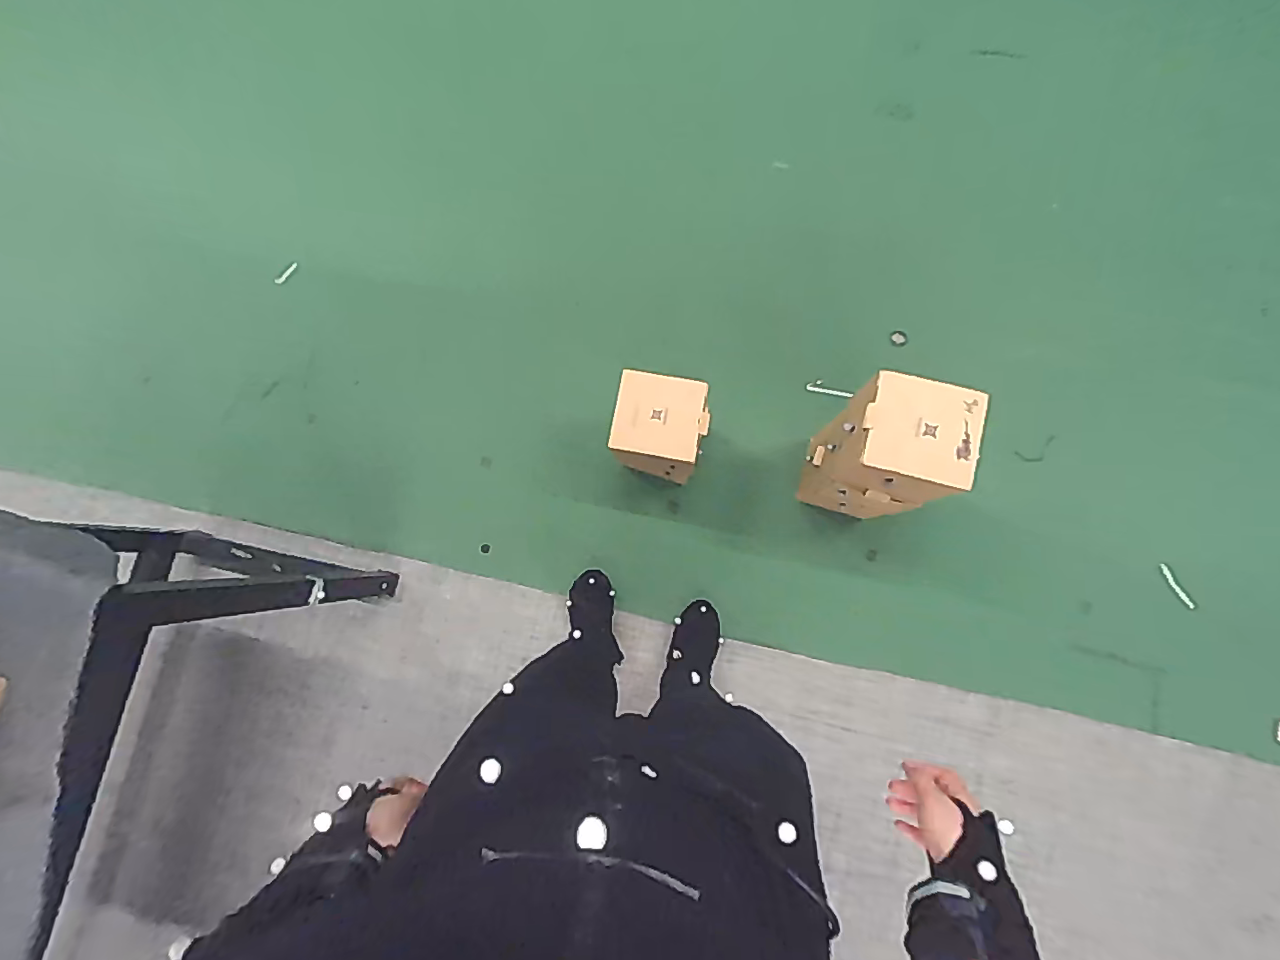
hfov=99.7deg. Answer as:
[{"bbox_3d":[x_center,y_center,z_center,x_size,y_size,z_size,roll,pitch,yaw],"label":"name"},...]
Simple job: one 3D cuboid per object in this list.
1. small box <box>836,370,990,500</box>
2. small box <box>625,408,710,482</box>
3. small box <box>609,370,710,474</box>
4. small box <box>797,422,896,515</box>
[{"bbox_3d":[0.460,-0.069,0.939,0.179,0.176,0.168,15,82,6],"label":"small box"},{"bbox_3d":[0.056,-0.101,1.296,0.179,0.176,0.168,18,83,6],"label":"small box"},{"bbox_3d":[0.043,-0.114,1.135,0.179,0.176,0.168,10,82,5],"label":"small box"},{"bbox_3d":[0.488,-0.019,1.261,0.179,0.176,0.168,16,84,5],"label":"small box"}]
